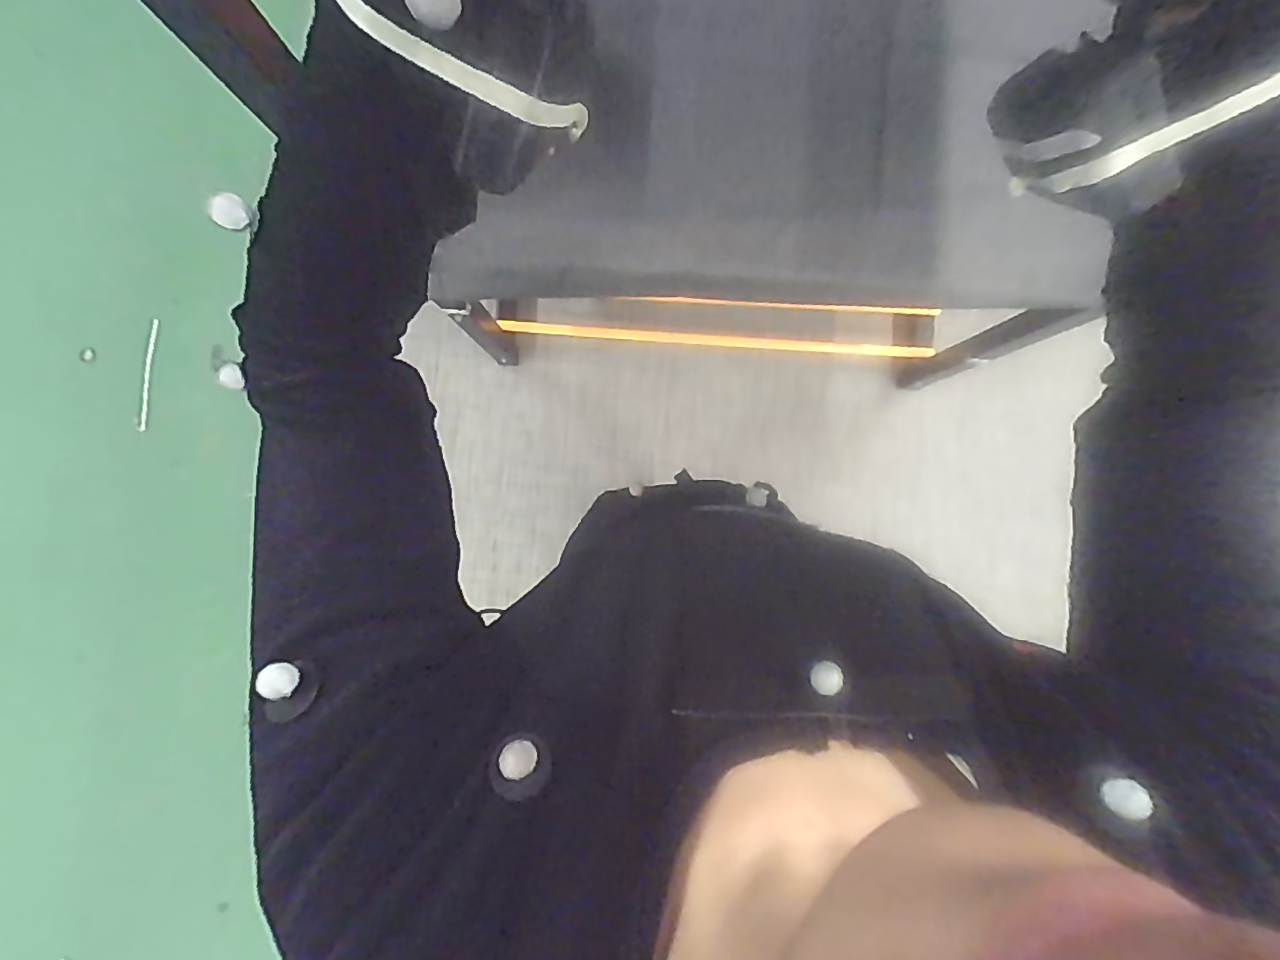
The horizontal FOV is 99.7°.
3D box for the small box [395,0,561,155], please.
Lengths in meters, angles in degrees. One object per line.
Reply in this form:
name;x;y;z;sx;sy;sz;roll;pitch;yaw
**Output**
small box;-0.199;-0.570;0.710;0.168;0.176;0.179;3;88;0
